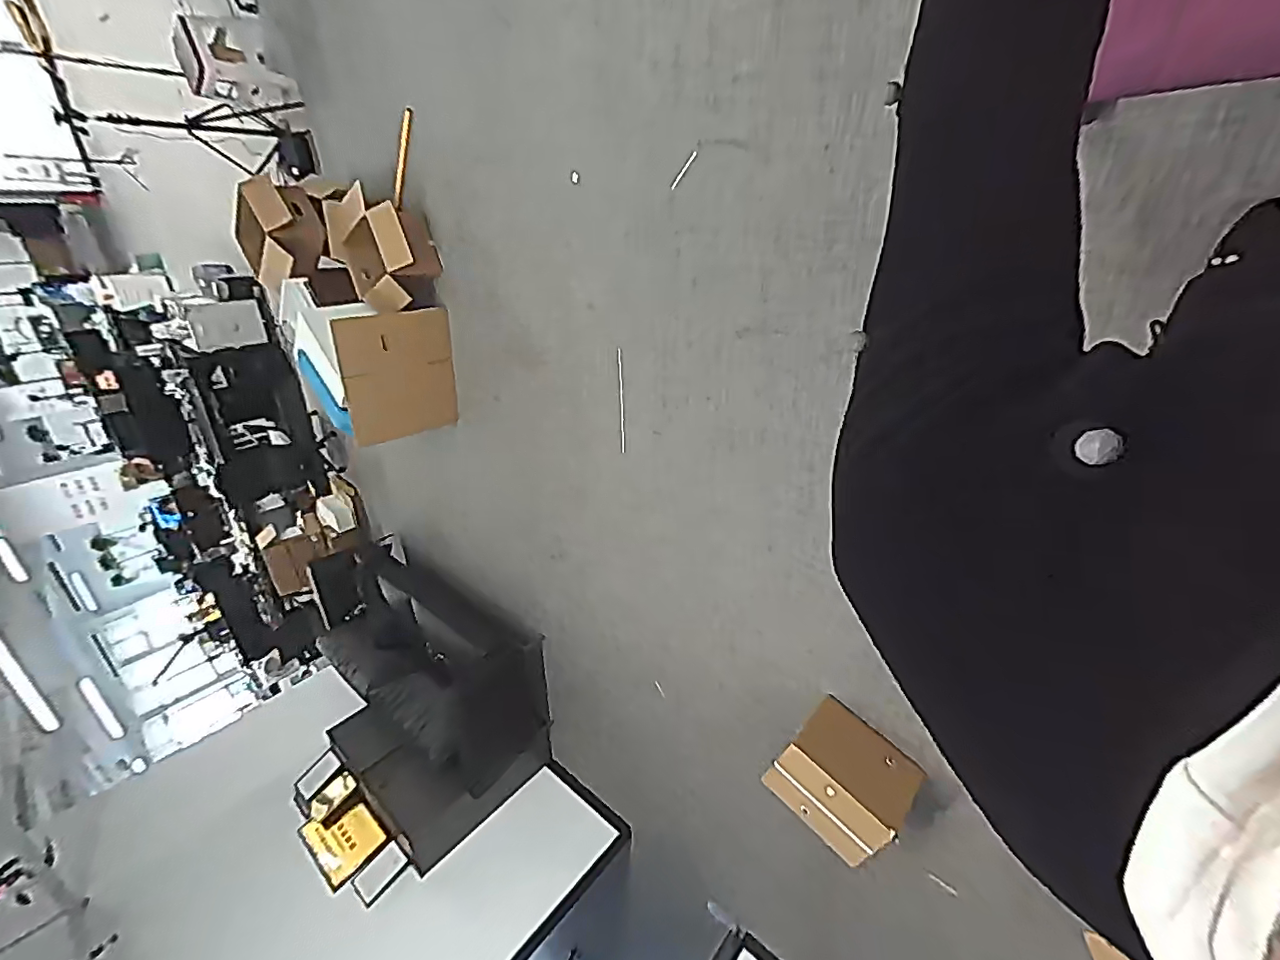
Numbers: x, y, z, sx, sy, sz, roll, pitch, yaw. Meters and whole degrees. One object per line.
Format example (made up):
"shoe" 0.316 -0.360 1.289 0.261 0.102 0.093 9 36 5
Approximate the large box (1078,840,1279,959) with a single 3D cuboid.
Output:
"large box" 1.452 1.221 1.408 0.408 0.320 0.320 -22 95 46
